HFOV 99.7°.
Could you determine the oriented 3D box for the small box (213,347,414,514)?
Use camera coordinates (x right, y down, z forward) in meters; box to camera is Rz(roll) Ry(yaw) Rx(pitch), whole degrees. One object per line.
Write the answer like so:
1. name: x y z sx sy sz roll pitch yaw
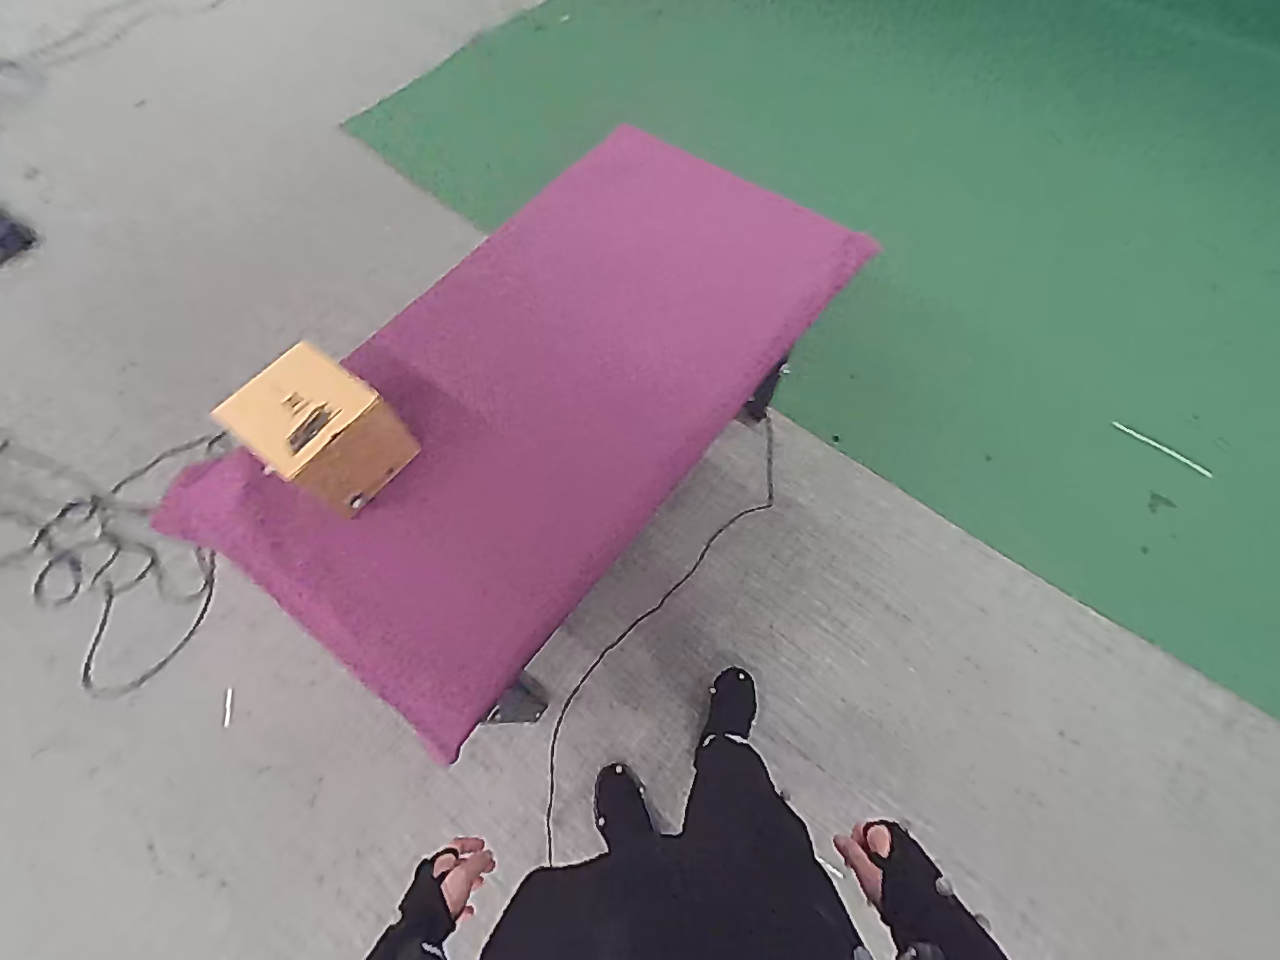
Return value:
1. small box: -0.496 -0.066 0.851 0.179 0.176 0.168 34 69 15
